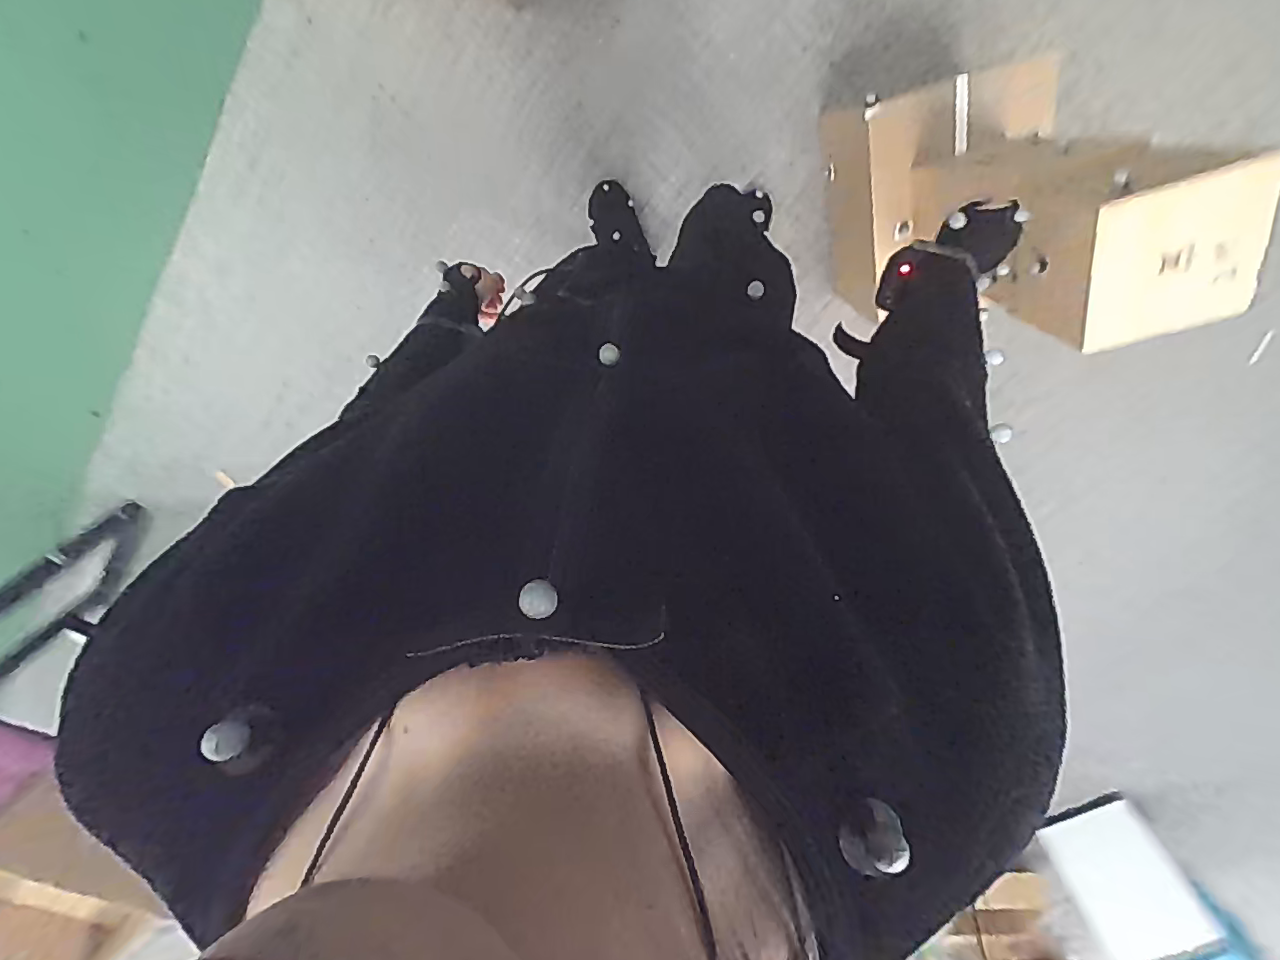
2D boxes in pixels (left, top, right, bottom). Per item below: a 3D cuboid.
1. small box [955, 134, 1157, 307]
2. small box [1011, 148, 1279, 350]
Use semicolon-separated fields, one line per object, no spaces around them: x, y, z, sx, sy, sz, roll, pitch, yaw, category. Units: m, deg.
0.579;-0.374;0.781;0.168;0.176;0.179;-14;121;10;small box
0.582;-0.278;0.646;0.179;0.176;0.168;-14;122;9;small box
